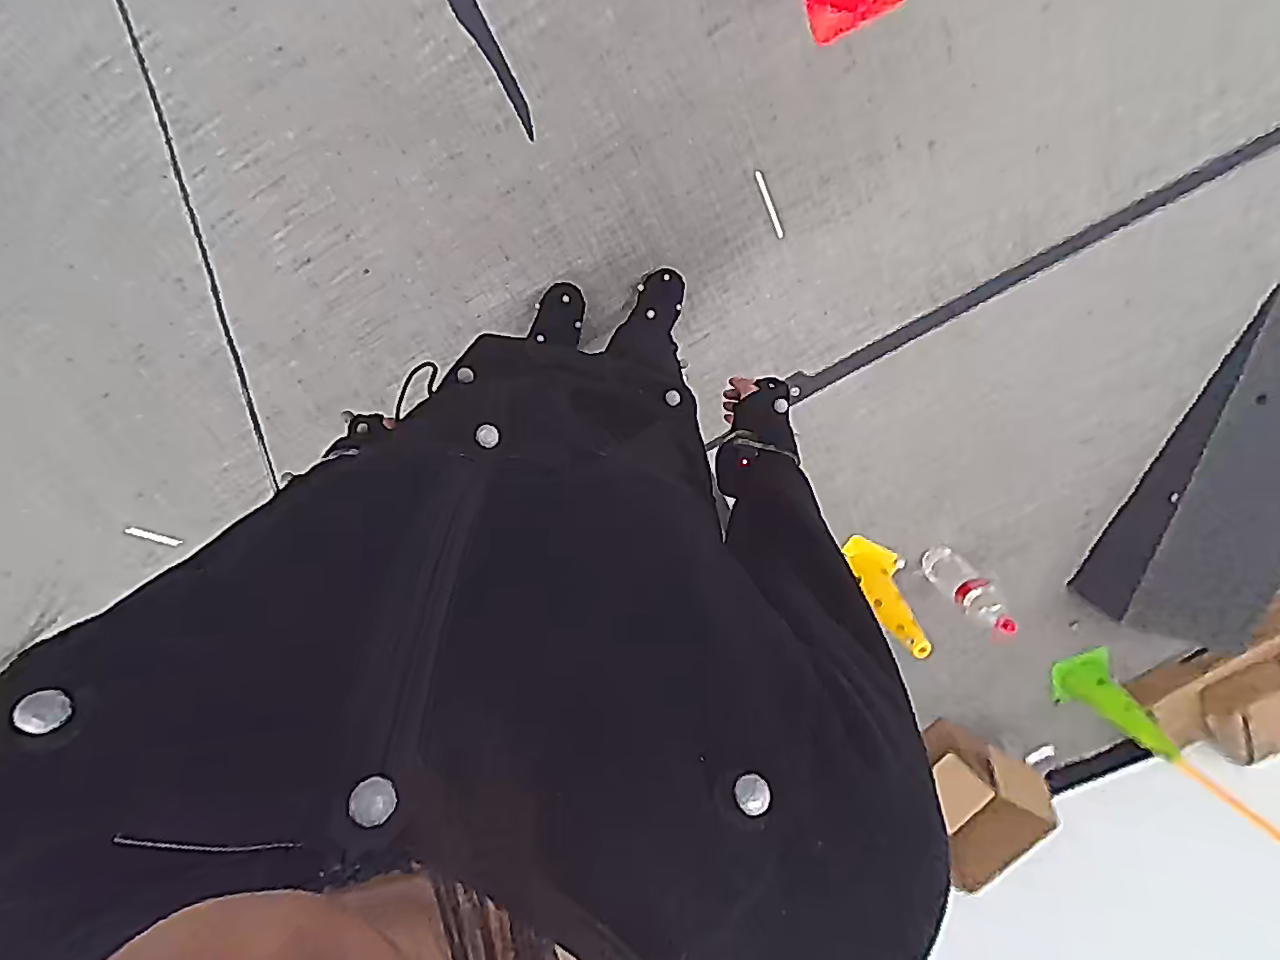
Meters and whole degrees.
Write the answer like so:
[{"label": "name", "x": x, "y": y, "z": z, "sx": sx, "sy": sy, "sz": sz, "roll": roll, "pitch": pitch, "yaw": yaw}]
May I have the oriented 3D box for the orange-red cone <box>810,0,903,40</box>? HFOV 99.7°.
[{"label": "orange-red cone", "x": 0.435, "y": -0.951, "z": 0.913, "sx": 0.198, "sy": 0.360, "sz": 0.199, "roll": -24, "pitch": 114, "yaw": 6}]
